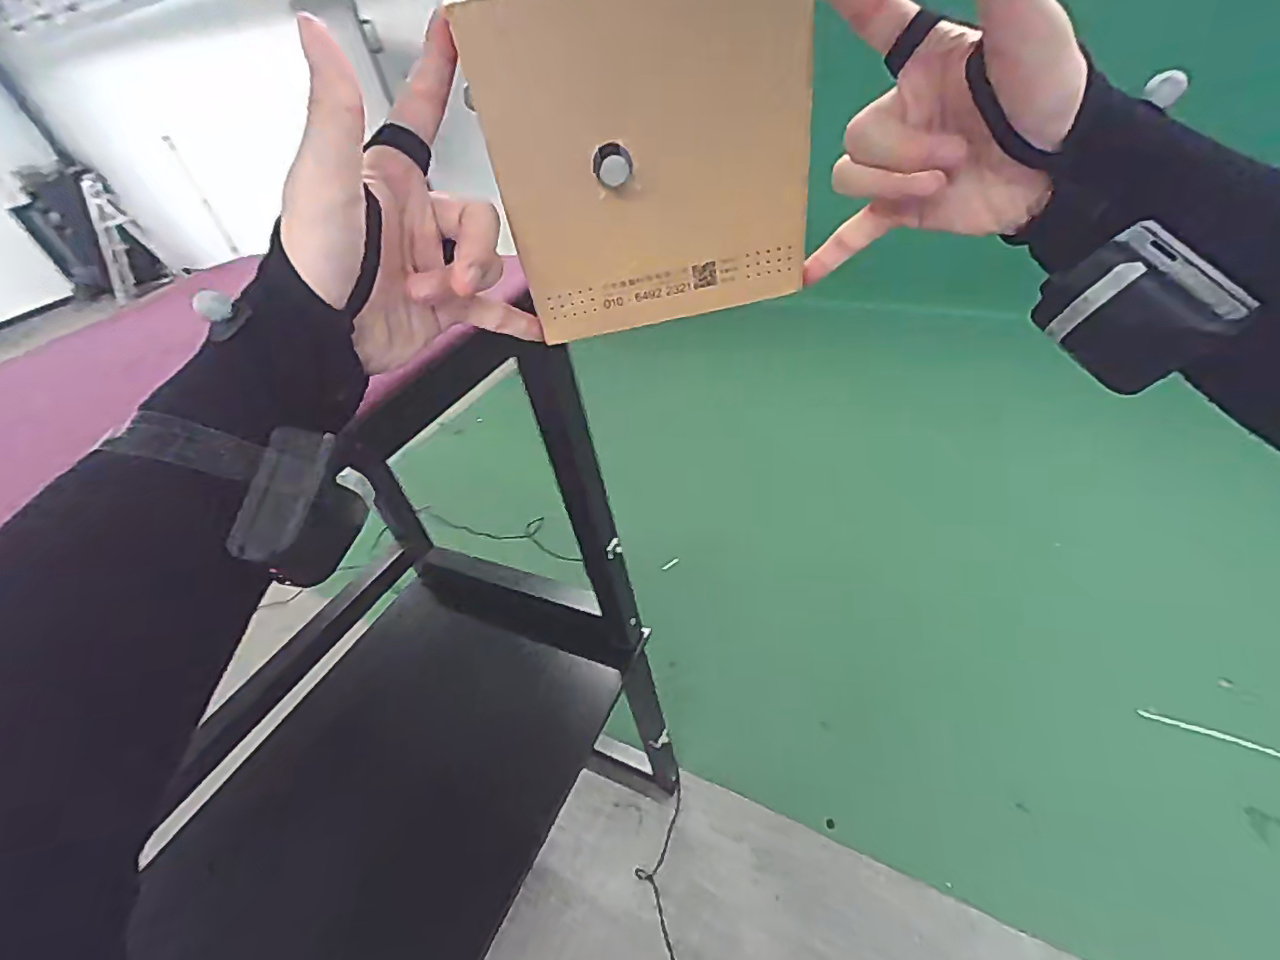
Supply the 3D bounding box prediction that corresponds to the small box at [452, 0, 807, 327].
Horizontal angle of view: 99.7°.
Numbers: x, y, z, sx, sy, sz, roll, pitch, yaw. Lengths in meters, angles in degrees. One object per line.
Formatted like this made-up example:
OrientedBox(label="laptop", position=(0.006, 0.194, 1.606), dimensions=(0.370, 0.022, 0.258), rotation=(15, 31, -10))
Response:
OrientedBox(label="small box", position=(0.002, -0.212, 0.344), dimensions=(0.168, 0.176, 0.179), rotation=(-12, 41, 1))
